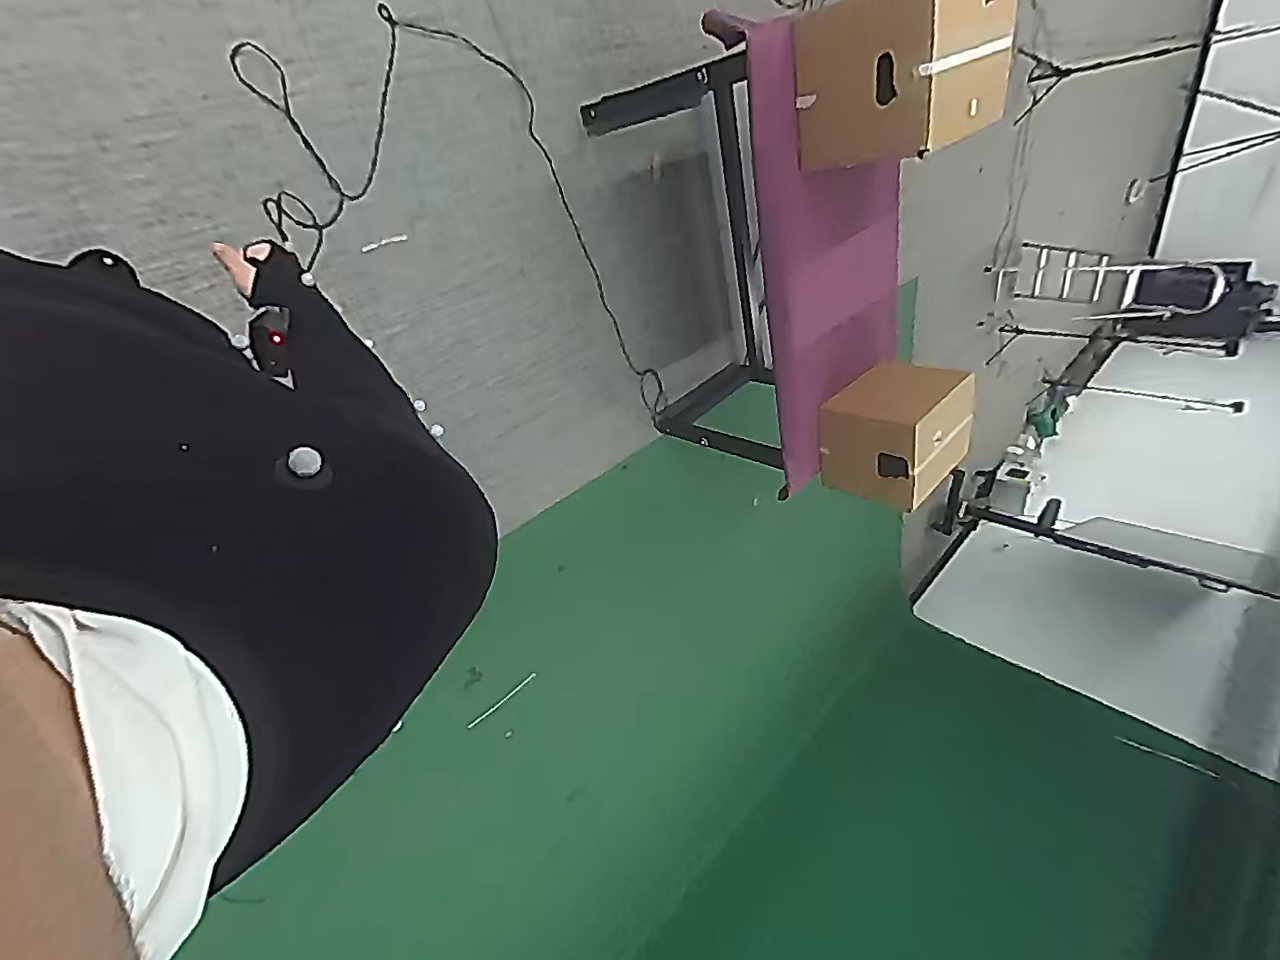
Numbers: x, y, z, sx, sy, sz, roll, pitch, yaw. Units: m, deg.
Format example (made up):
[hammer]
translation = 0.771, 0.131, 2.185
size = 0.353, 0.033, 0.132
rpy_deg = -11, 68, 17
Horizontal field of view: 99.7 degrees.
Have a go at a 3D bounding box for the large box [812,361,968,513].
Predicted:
[large box]
translation = 0.823, -0.162, 1.791
size = 0.408, 0.320, 0.320
rpy_deg = -34, 125, -29
